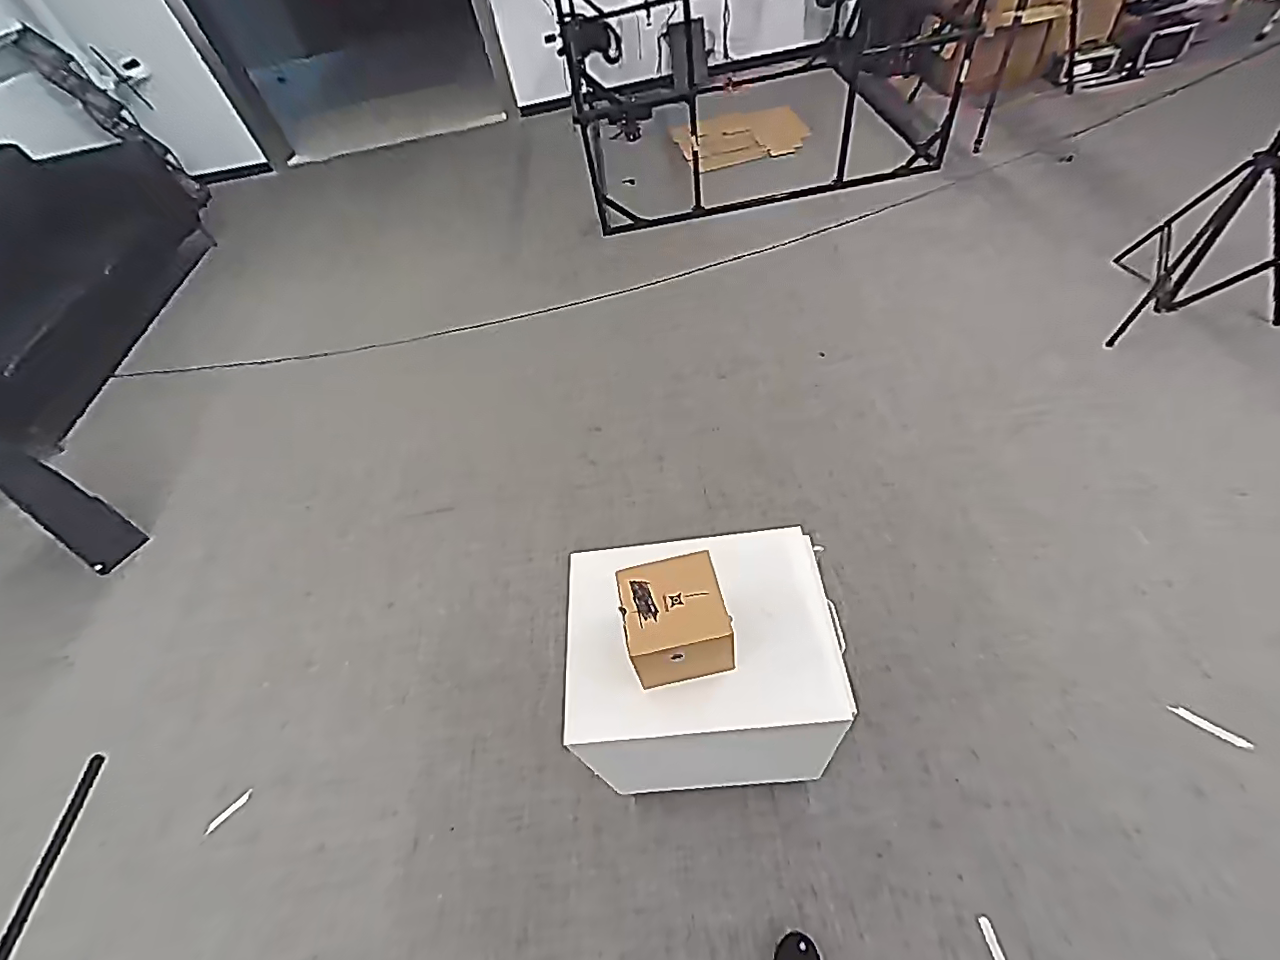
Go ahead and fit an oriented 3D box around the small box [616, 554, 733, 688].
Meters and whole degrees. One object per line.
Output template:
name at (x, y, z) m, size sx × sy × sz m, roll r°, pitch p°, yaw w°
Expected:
small box at (0.065, 0.262, 0.986) m, size 0.179 × 0.176 × 0.168 m, roll -12°, pitch 51°, yaw 0°
